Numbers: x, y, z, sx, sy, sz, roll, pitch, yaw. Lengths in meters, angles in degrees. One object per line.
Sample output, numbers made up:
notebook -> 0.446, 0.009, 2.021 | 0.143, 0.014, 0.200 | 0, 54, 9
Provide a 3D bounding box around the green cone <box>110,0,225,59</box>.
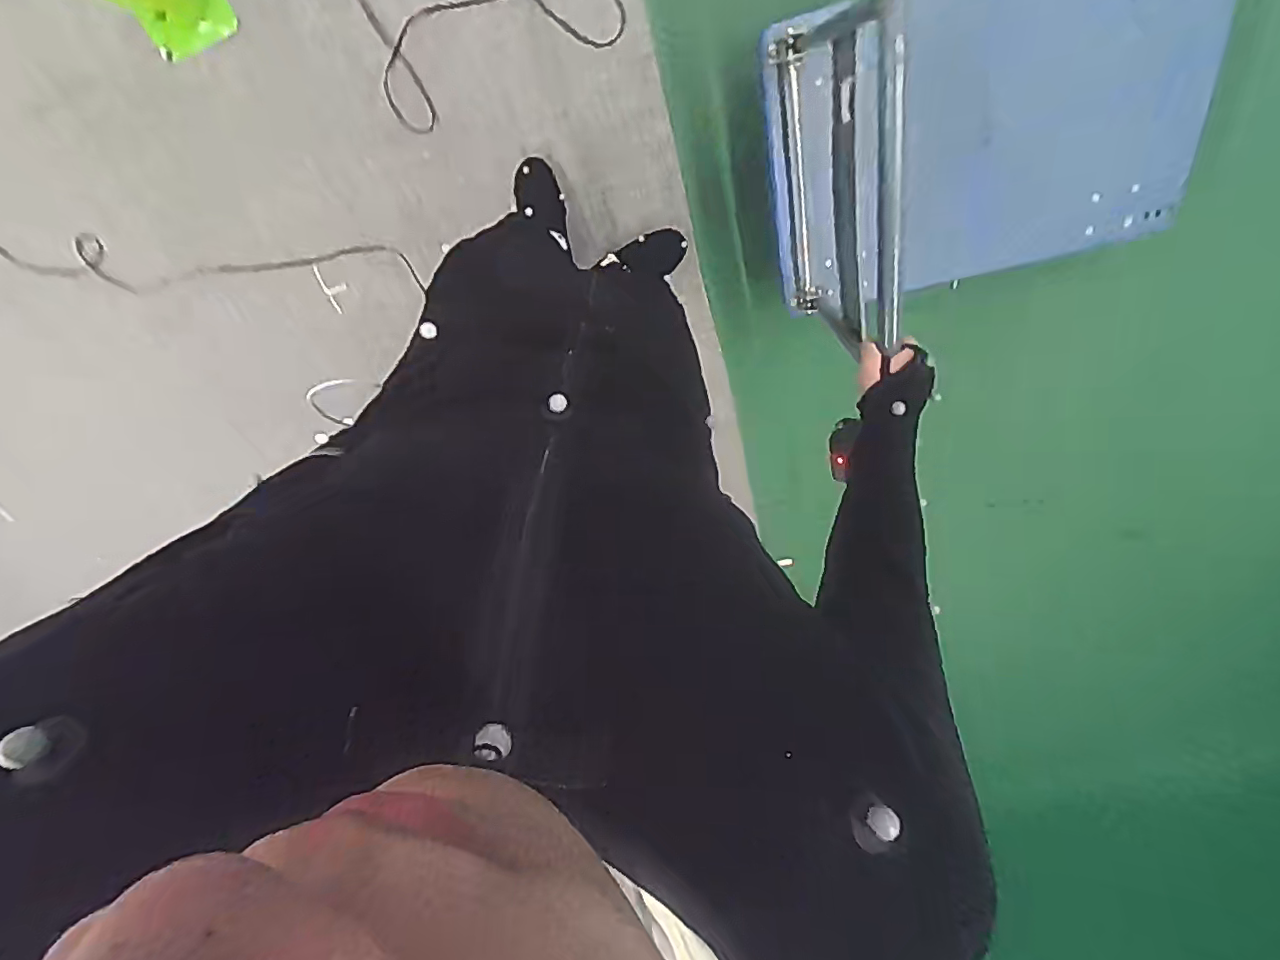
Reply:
green cone -> -0.988, -0.924, 0.962 | 0.200, 0.368, 0.202 | -17, 120, 10
